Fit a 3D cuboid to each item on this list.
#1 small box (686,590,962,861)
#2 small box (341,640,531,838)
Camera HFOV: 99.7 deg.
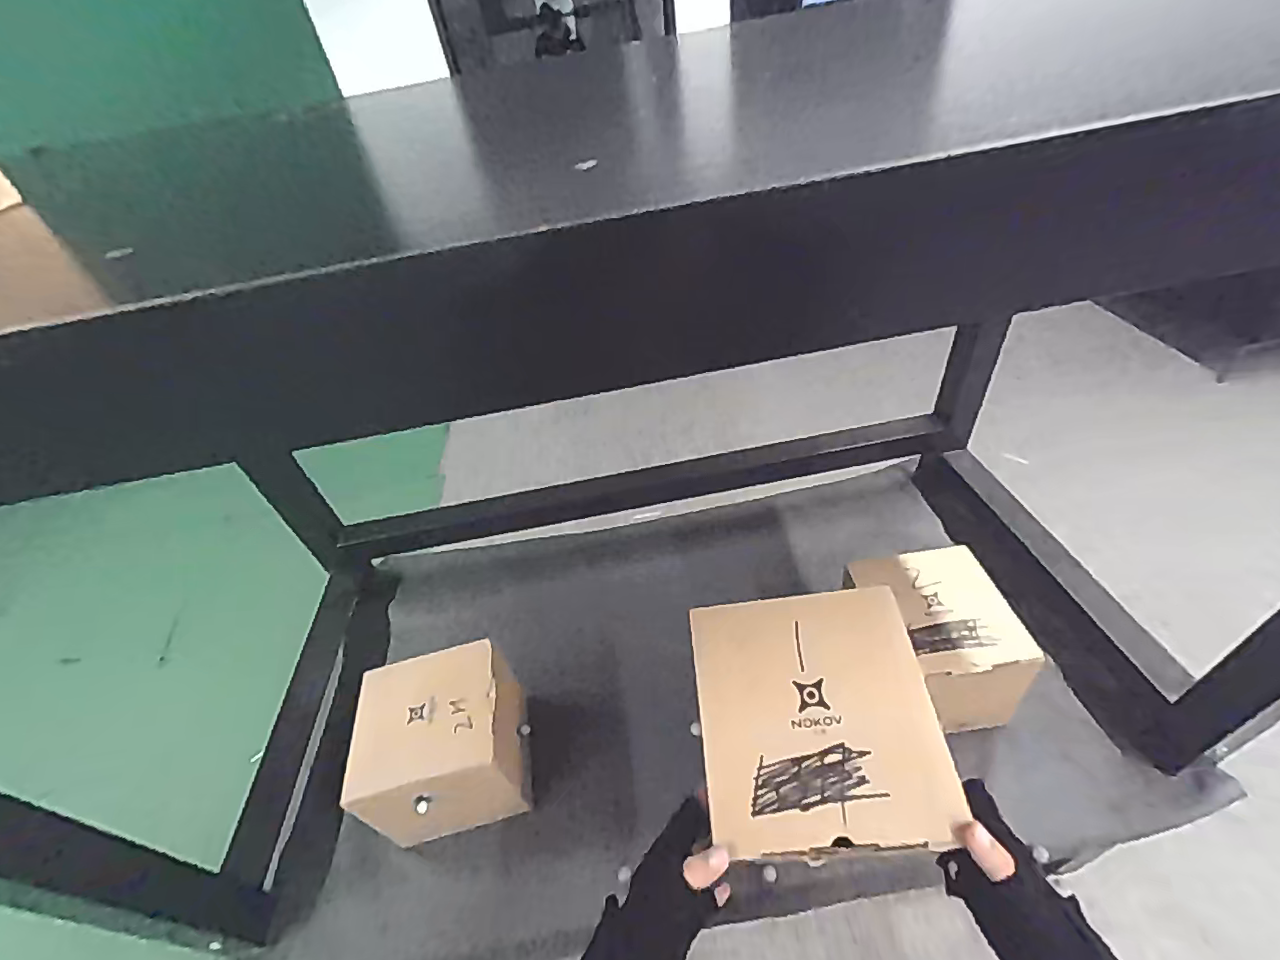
[{"bbox_3d":[0.136,0.214,0.459,0.168,0.176,0.179,-8,53,8],"label":"small box"},{"bbox_3d":[-0.255,0.346,0.720,0.179,0.176,0.168,-13,42,-4],"label":"small box"}]
